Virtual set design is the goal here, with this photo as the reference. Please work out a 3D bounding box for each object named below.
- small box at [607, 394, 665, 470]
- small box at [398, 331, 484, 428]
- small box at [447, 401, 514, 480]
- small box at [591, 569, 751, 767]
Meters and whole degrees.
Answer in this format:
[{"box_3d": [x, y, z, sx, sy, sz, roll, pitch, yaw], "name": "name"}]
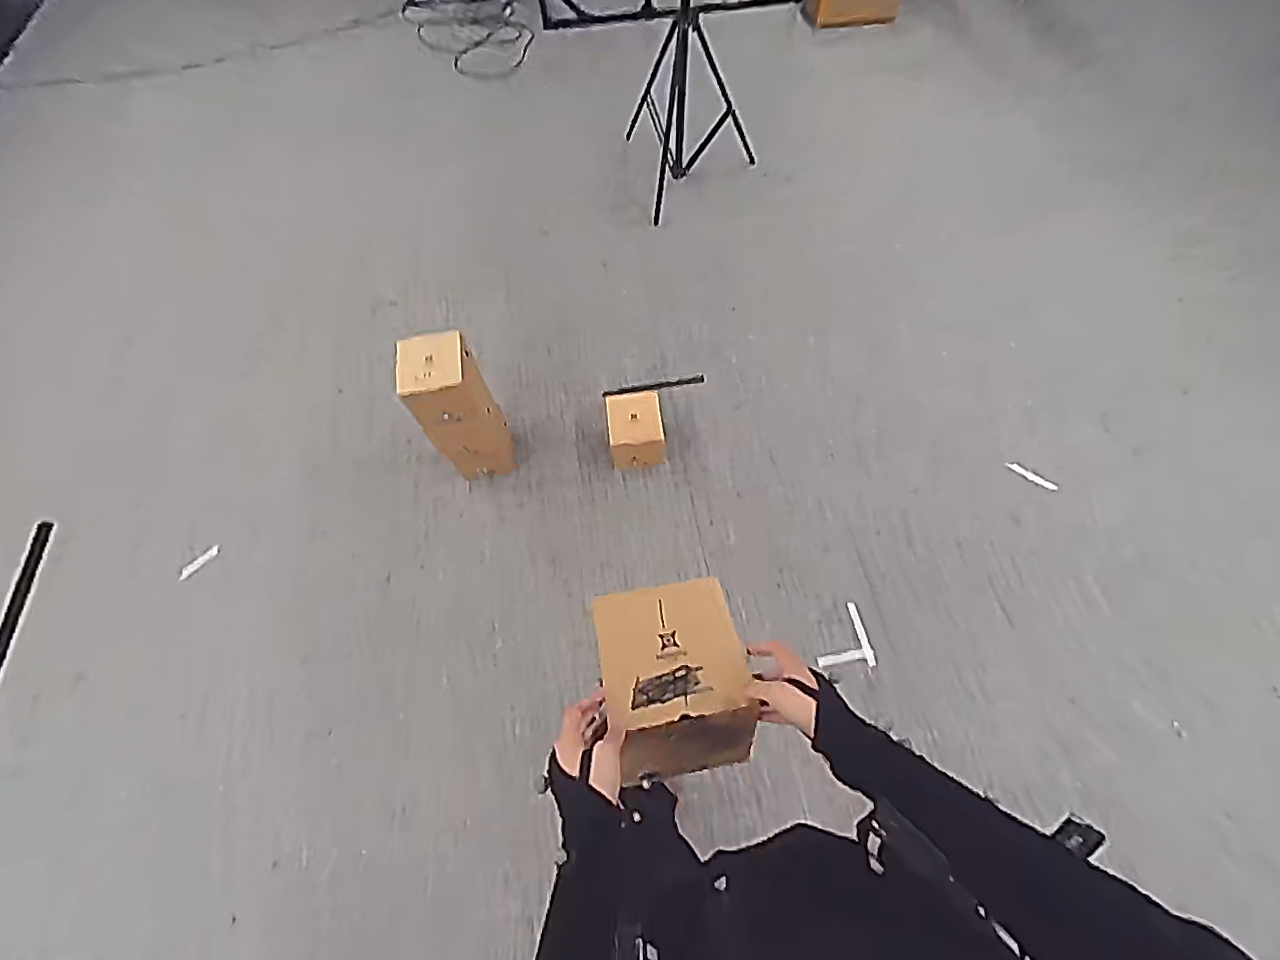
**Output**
[{"box_3d": [-0.015, -0.153, 1.734, 0.168, 0.176, 0.179, -7, 64, -2], "name": "small box"}, {"box_3d": [-0.524, -0.264, 1.438, 0.168, 0.176, 0.179, -11, 64, -2], "name": "small box"}, {"box_3d": [-0.509, -0.124, 1.734, 0.168, 0.176, 0.179, -11, 63, -3], "name": "small box"}, {"box_3d": [0.034, 0.242, 0.685, 0.168, 0.176, 0.179, -8, 43, -5], "name": "small box"}]
